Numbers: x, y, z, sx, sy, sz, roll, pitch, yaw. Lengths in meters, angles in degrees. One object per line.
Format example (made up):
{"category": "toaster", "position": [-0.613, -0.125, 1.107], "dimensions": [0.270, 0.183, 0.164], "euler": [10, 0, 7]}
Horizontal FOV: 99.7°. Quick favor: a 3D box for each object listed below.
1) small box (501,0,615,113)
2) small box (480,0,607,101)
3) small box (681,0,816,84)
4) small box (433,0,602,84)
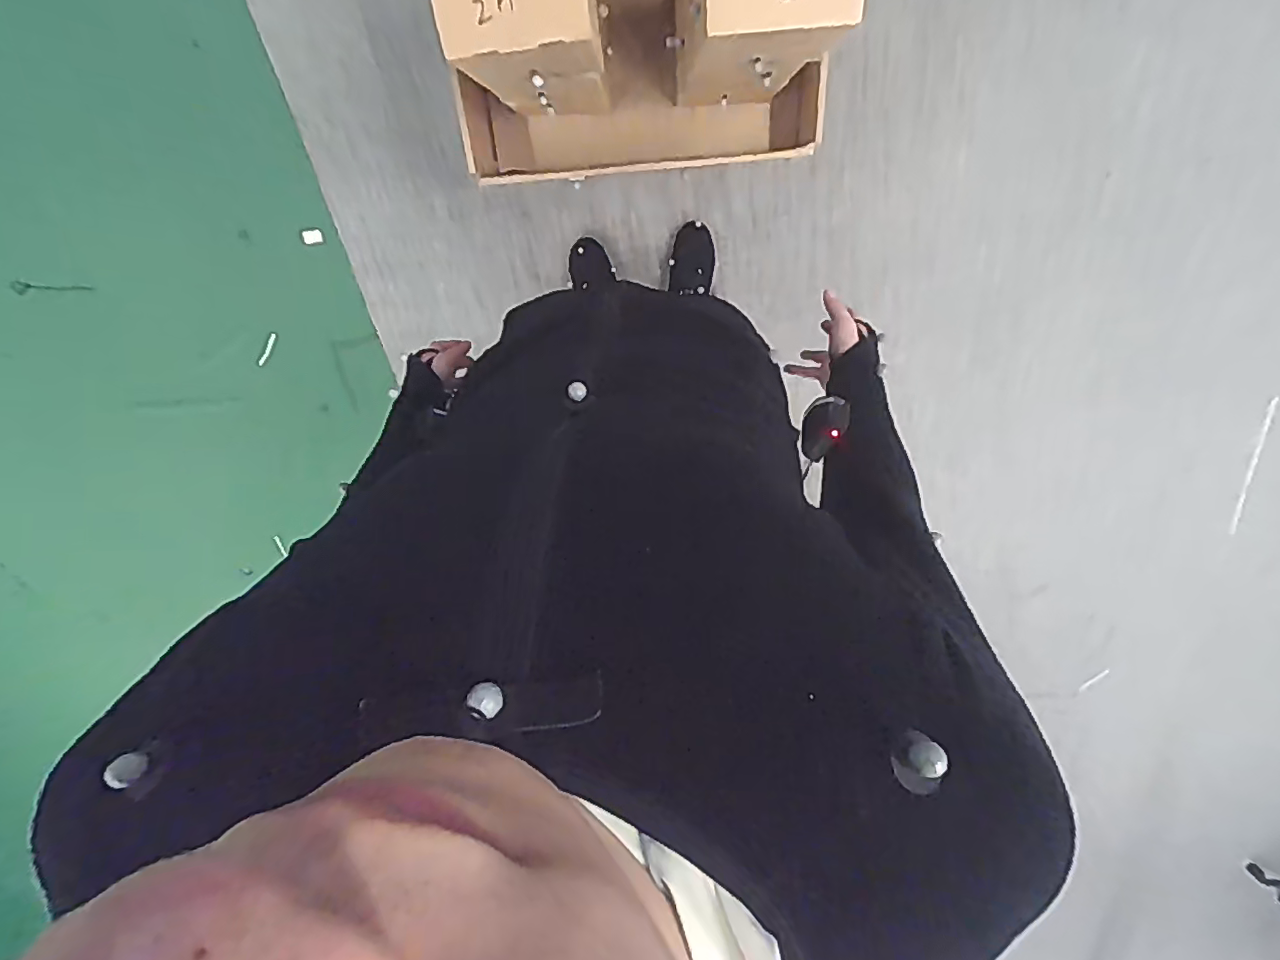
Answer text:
{"category": "small box", "position": [-0.137, -0.731, 0.913], "dimensions": [0.179, 0.176, 0.168], "euler": [-1, 117, 2]}
{"category": "small box", "position": [-0.138, -0.661, 0.765], "dimensions": [0.168, 0.176, 0.179], "euler": [-2, 117, 3]}
{"category": "small box", "position": [0.145, -0.669, 0.748], "dimensions": [0.168, 0.176, 0.179], "euler": [-2, 116, 2]}
{"category": "small box", "position": [-0.140, -0.585, 0.619], "dimensions": [0.168, 0.176, 0.179], "euler": [-5, 117, 4]}
